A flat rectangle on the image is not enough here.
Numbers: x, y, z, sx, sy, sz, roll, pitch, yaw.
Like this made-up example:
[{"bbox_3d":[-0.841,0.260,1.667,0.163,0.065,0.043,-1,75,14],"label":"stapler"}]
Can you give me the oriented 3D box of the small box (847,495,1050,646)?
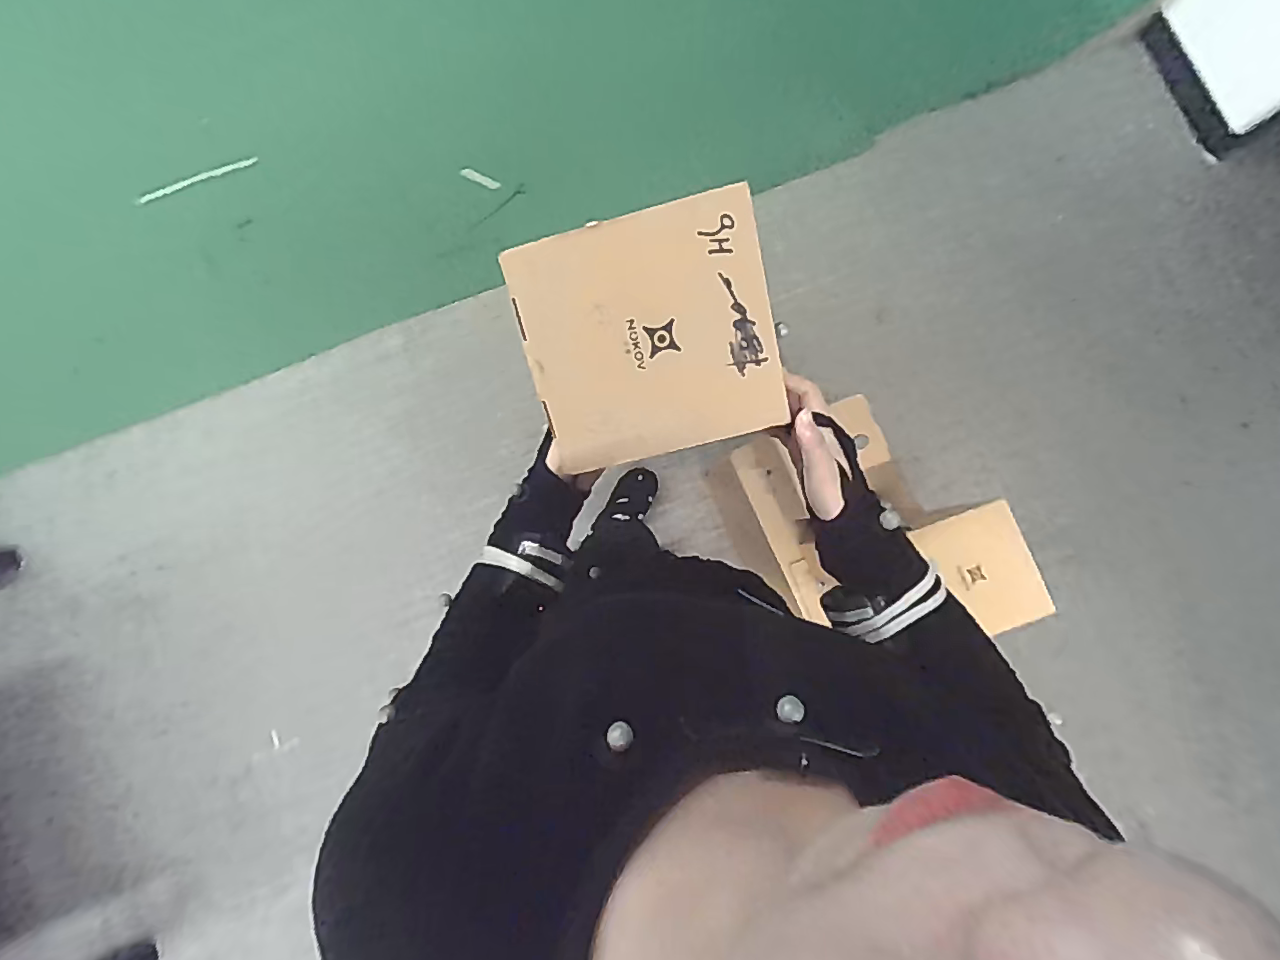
[{"bbox_3d":[0.448,0.131,0.815,0.179,0.176,0.168,-19,83,-3],"label":"small box"}]
